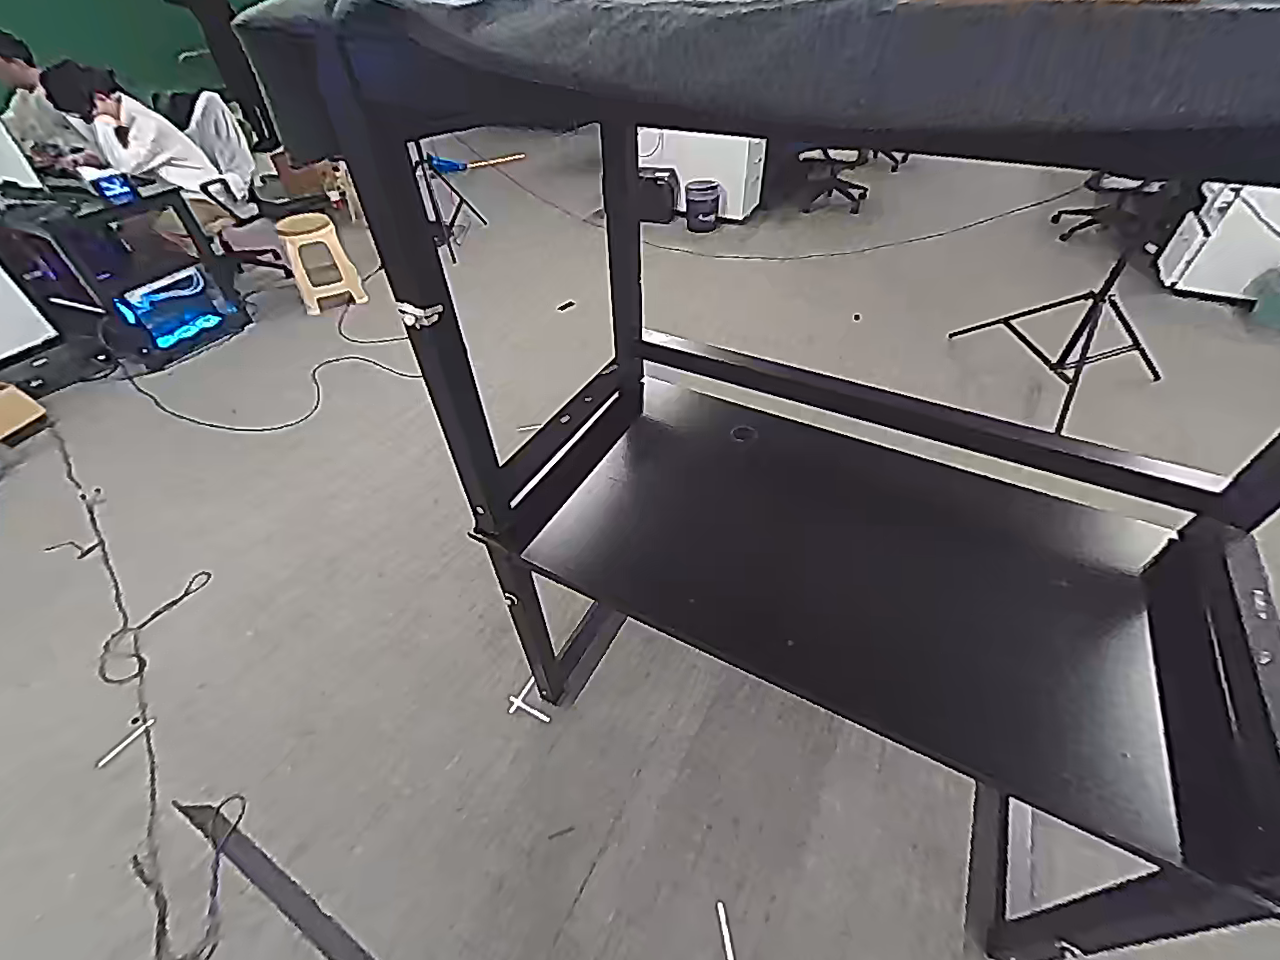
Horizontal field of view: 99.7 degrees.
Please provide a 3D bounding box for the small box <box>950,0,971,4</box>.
[{"bbox_3d":[0.285,-0.410,0.334,0.168,0.176,0.179,19,46,21],"label":"small box"}]
